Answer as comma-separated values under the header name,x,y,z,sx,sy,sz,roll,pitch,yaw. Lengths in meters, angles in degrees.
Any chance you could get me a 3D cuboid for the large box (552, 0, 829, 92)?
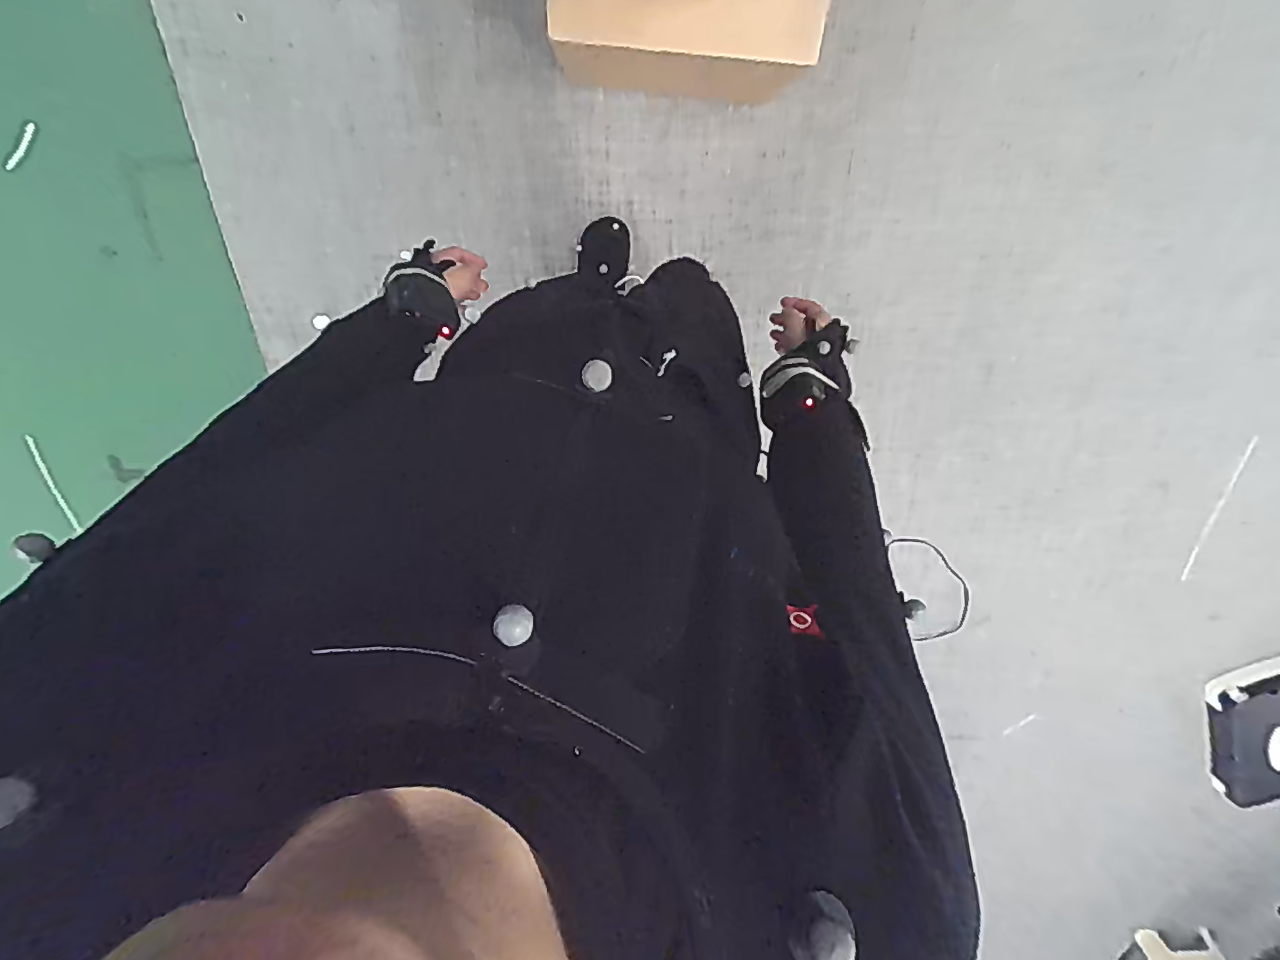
name,x,y,z,sx,sy,sz,roll,pitch,yaw
large box,0.071,-0.837,0.855,0.408,0.320,0.320,2,118,-4
